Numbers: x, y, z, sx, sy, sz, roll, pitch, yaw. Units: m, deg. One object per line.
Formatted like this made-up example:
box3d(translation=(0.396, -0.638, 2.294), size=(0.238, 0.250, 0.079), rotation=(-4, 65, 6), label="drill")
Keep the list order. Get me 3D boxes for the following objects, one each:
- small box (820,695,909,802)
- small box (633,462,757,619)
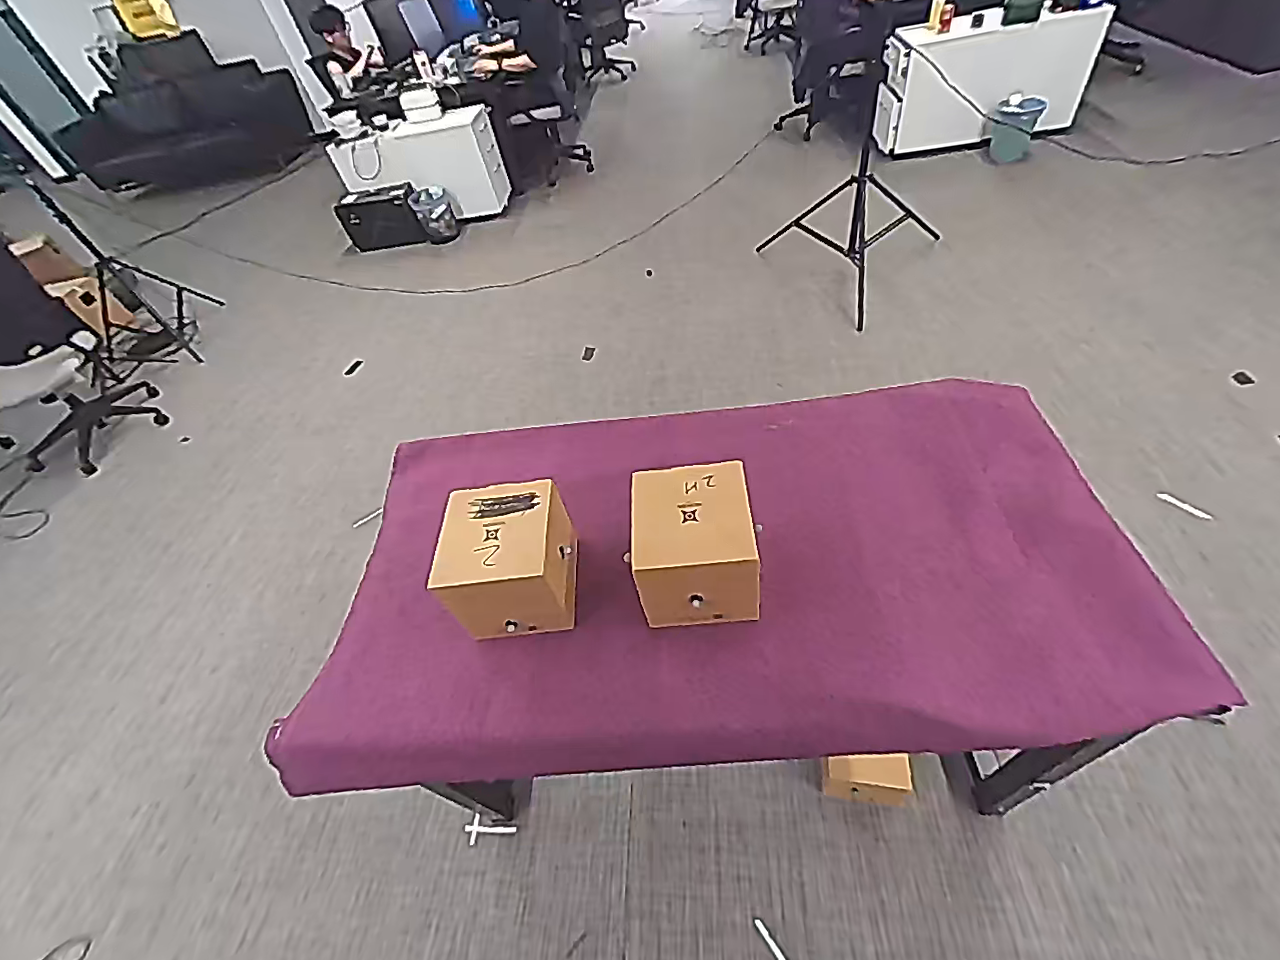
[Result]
box3d(translation=(0.509, 0.622, 1.246), size=(0.168, 0.176, 0.179), rotation=(2, 49, 14), label="small box")
box3d(translation=(0.084, 0.098, 0.812), size=(0.168, 0.176, 0.179), rotation=(-6, 48, 6), label="small box")
